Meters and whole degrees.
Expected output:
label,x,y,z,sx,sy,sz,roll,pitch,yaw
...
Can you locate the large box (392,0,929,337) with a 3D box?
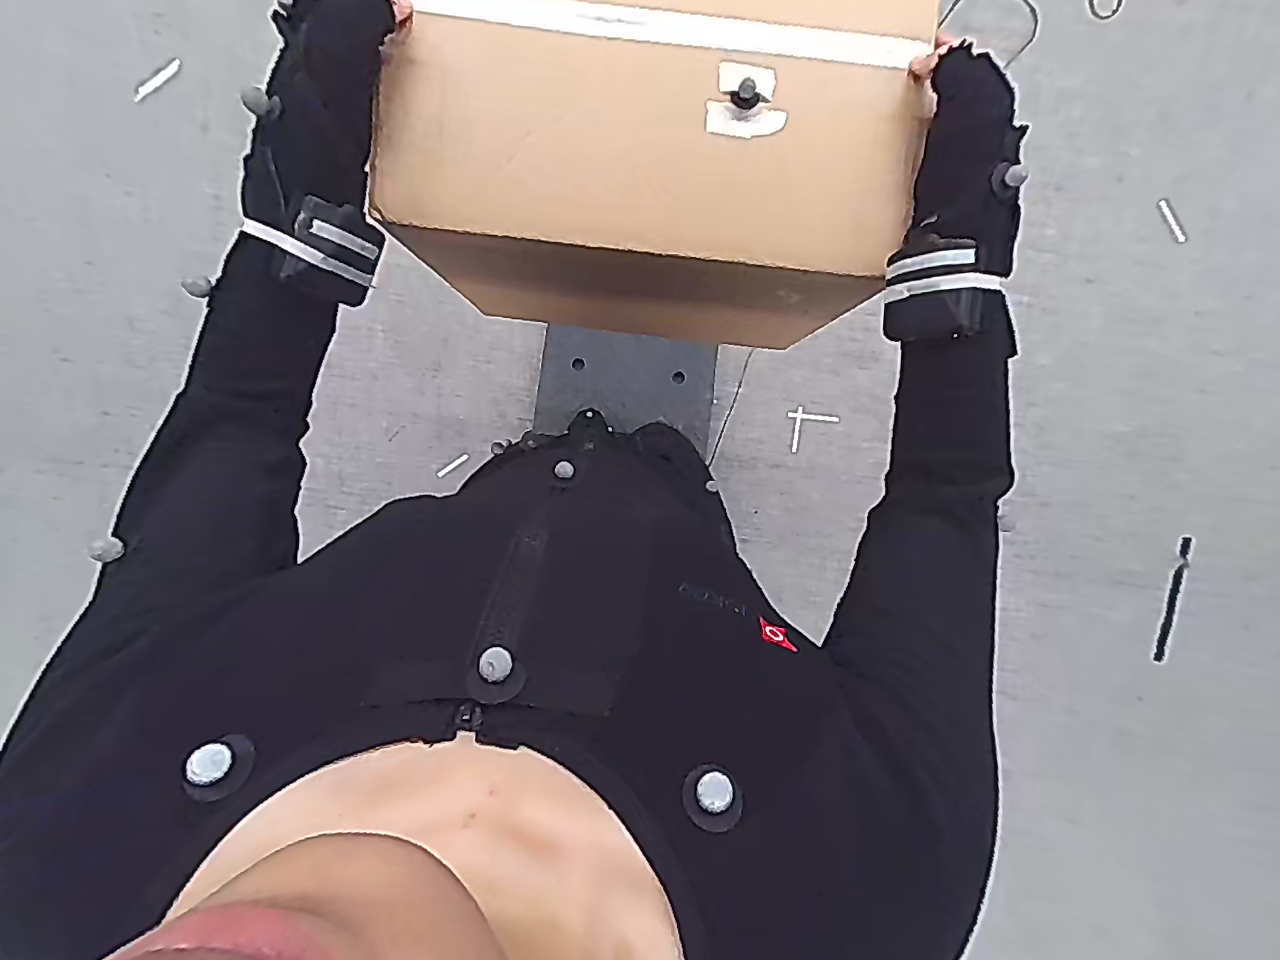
label,x,y,z,sx,sy,sz,roll,pitch,yaw
large box,0.014,-0.347,0.559,0.408,0.320,0.320,6,94,-2
